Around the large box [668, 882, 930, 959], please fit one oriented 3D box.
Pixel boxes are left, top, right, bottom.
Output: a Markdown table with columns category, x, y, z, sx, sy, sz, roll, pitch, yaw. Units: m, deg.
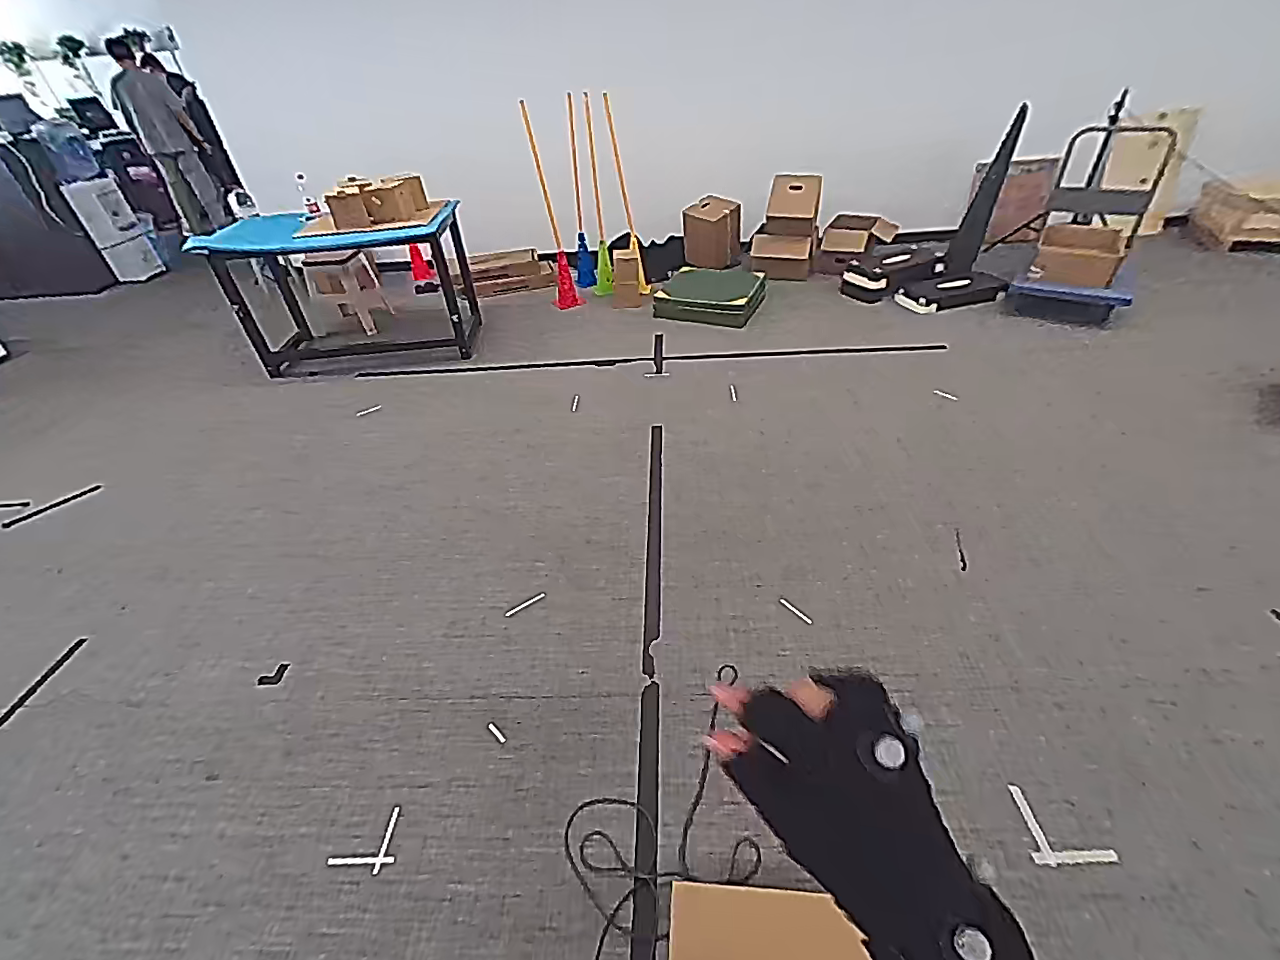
| category | x | y | z | sx | sy | sz | roll | pitch | yaw |
| --- | --- | --- | --- | --- | --- | --- | --- | --- | --- |
| large box | 0.245 | 0.896 | 0.871 | 0.408 | 0.320 | 0.320 | 1 | 39 | 6 |
